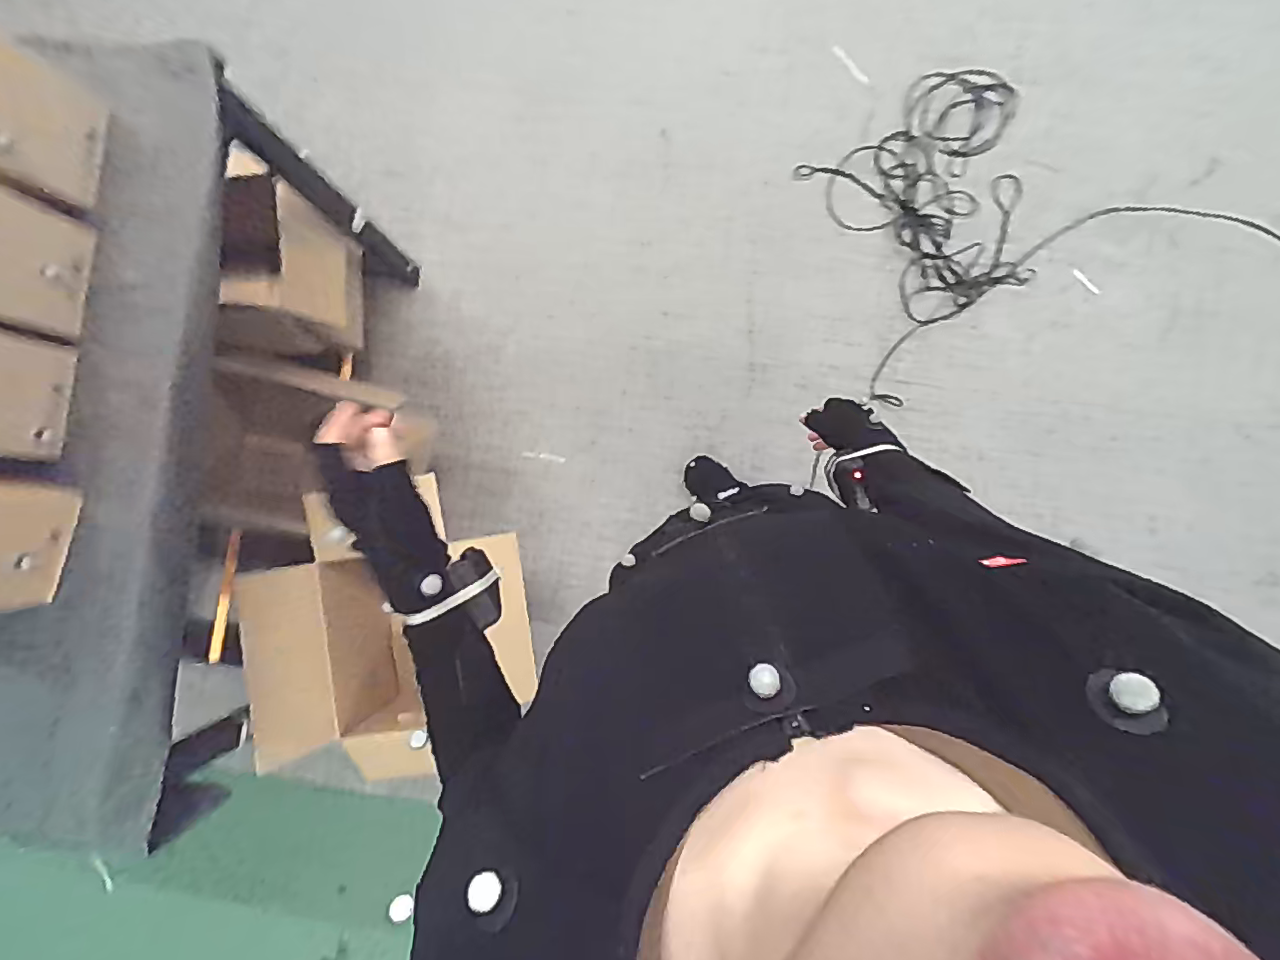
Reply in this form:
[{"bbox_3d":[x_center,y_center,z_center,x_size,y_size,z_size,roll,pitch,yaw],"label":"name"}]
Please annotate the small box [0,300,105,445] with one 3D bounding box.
[{"bbox_3d":[-0.884,-0.154,0.704,0.179,0.176,0.168,27,90,1],"label":"small box"}]
